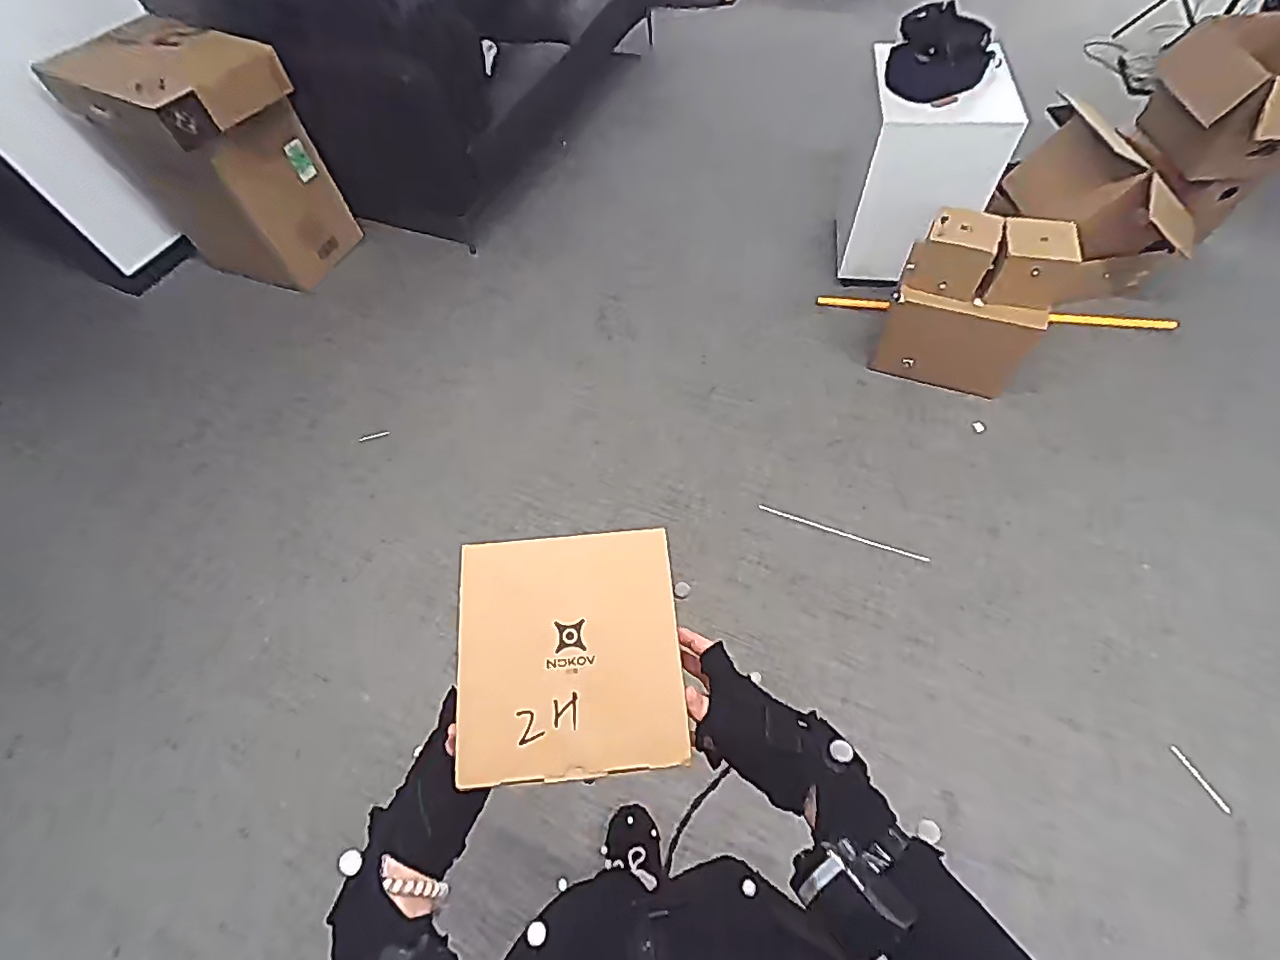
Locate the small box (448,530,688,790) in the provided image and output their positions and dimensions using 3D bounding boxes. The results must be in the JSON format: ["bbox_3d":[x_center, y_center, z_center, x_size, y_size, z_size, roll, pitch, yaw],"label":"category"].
[{"bbox_3d":[-0.055,0.156,0.472,0.168,0.176,0.179,-4,68,-2],"label":"small box"}]
